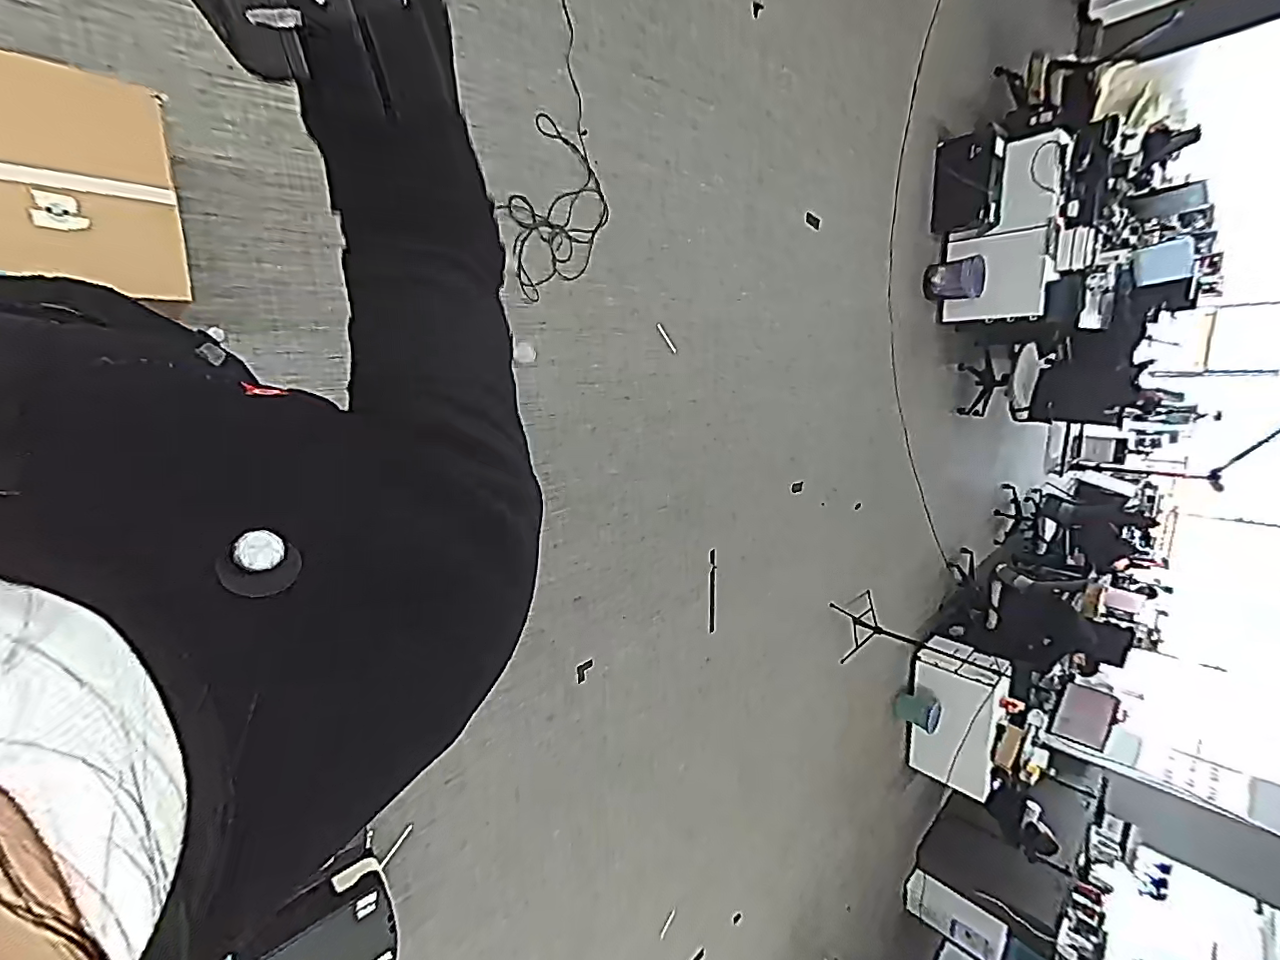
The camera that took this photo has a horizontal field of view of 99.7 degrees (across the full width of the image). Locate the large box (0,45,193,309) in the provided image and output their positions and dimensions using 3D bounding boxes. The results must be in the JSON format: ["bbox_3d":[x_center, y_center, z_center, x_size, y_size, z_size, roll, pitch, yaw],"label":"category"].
[{"bbox_3d":[-0.986,-0.448,0.835,0.408,0.320,0.320,-11,106,-42],"label":"large box"}]

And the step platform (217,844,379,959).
[{"bbox_3d":[-0.975,1.191,1.236,0.684,0.204,0.286,-15,108,-39],"label":"step platform"}]
